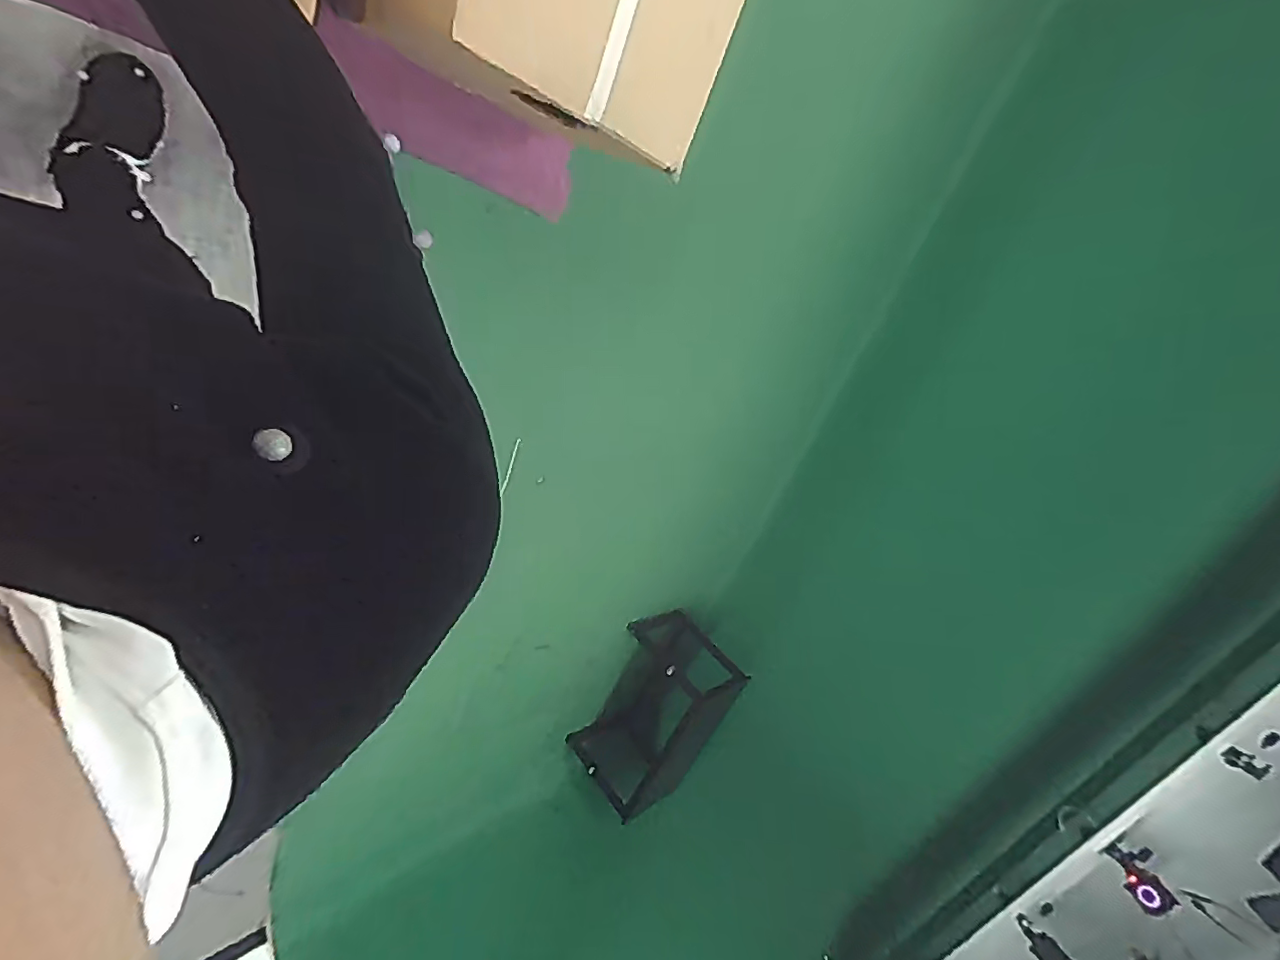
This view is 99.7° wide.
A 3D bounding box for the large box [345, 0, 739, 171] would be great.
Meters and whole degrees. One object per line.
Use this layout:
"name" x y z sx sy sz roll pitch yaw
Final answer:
"large box" -0.079 -0.634 0.581 0.320 0.320 0.408 -3 126 -47
